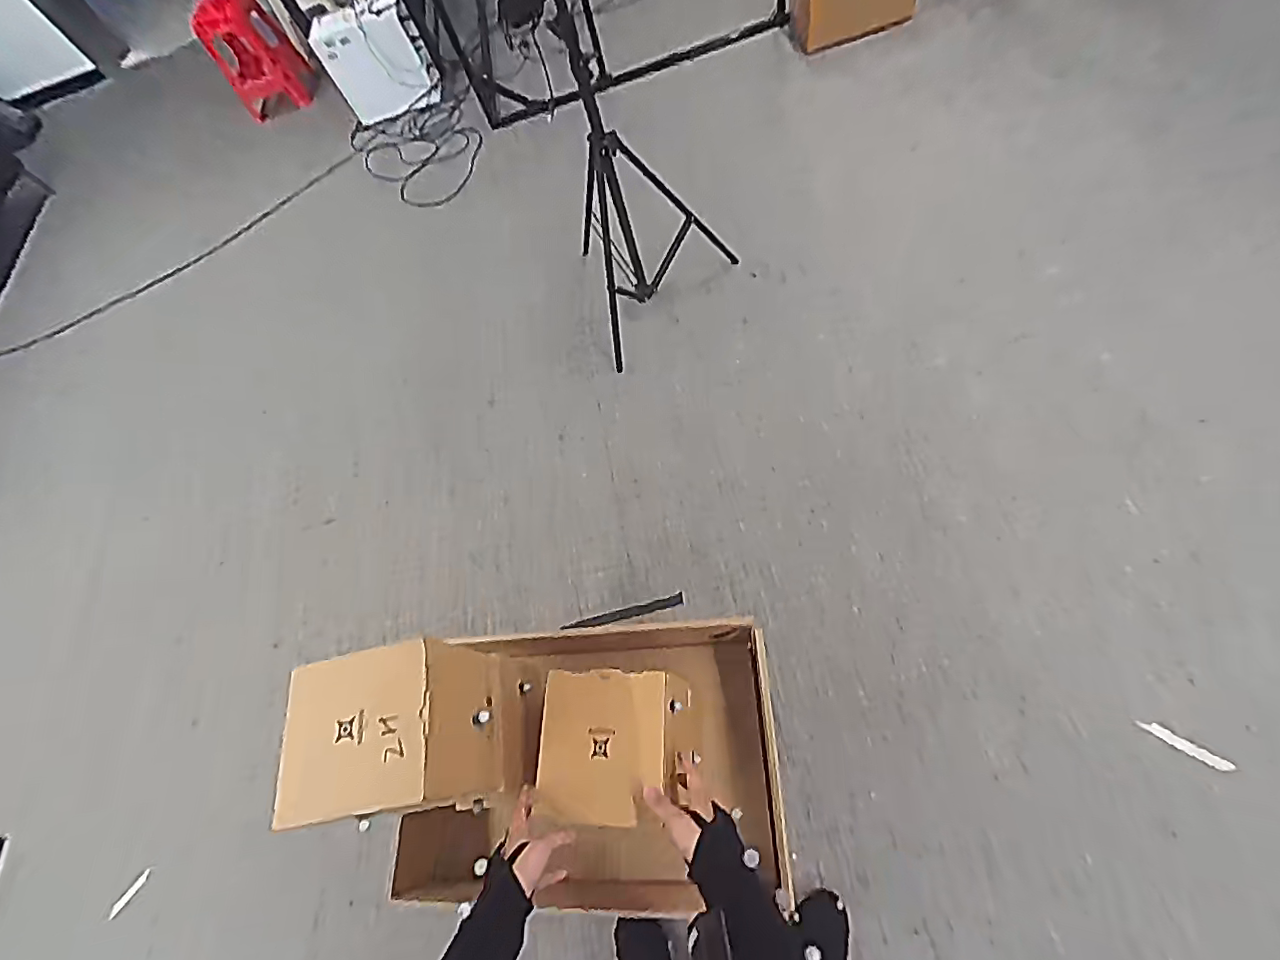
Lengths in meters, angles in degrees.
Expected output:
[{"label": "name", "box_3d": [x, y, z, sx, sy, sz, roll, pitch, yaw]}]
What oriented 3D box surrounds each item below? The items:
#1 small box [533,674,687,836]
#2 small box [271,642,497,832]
[{"label": "small box", "box_3d": [-0.029, 0.369, 0.743, 0.168, 0.176, 0.179, -5, 63, 14]}, {"label": "small box", "box_3d": [-0.291, 0.307, 0.651, 0.179, 0.176, 0.168, -14, 62, 7]}]
